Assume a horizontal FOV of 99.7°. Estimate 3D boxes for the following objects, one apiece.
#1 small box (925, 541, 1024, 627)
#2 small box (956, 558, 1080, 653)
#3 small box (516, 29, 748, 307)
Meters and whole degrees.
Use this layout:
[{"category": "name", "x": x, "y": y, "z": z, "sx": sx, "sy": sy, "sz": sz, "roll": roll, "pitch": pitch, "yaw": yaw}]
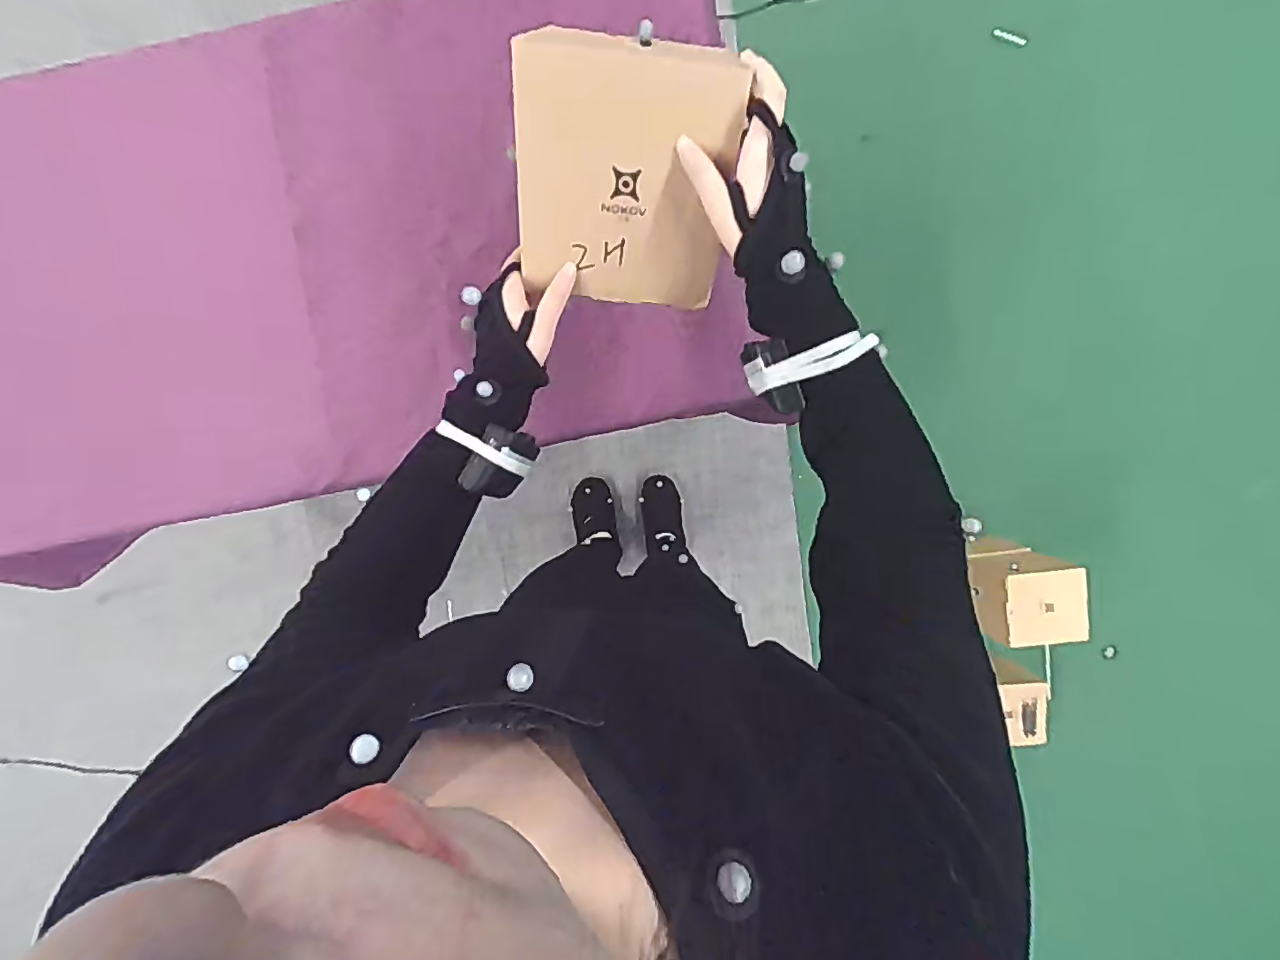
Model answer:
[{"category": "small box", "x": 0.876, "y": 0.269, "z": 1.424, "sx": 0.168, "sy": 0.176, "sz": 0.179, "roll": -6, "pitch": 94, "yaw": 0}, {"category": "small box", "x": 0.874, "y": 0.285, "z": 1.262, "sx": 0.179, "sy": 0.176, "sz": 0.168, "roll": -6, "pitch": 95, "yaw": 1}, {"category": "small box", "x": -0.014, "y": -0.281, "z": 0.485, "sx": 0.168, "sy": 0.176, "sz": 0.179, "roll": 5, "pitch": 133, "yaw": -3}]
